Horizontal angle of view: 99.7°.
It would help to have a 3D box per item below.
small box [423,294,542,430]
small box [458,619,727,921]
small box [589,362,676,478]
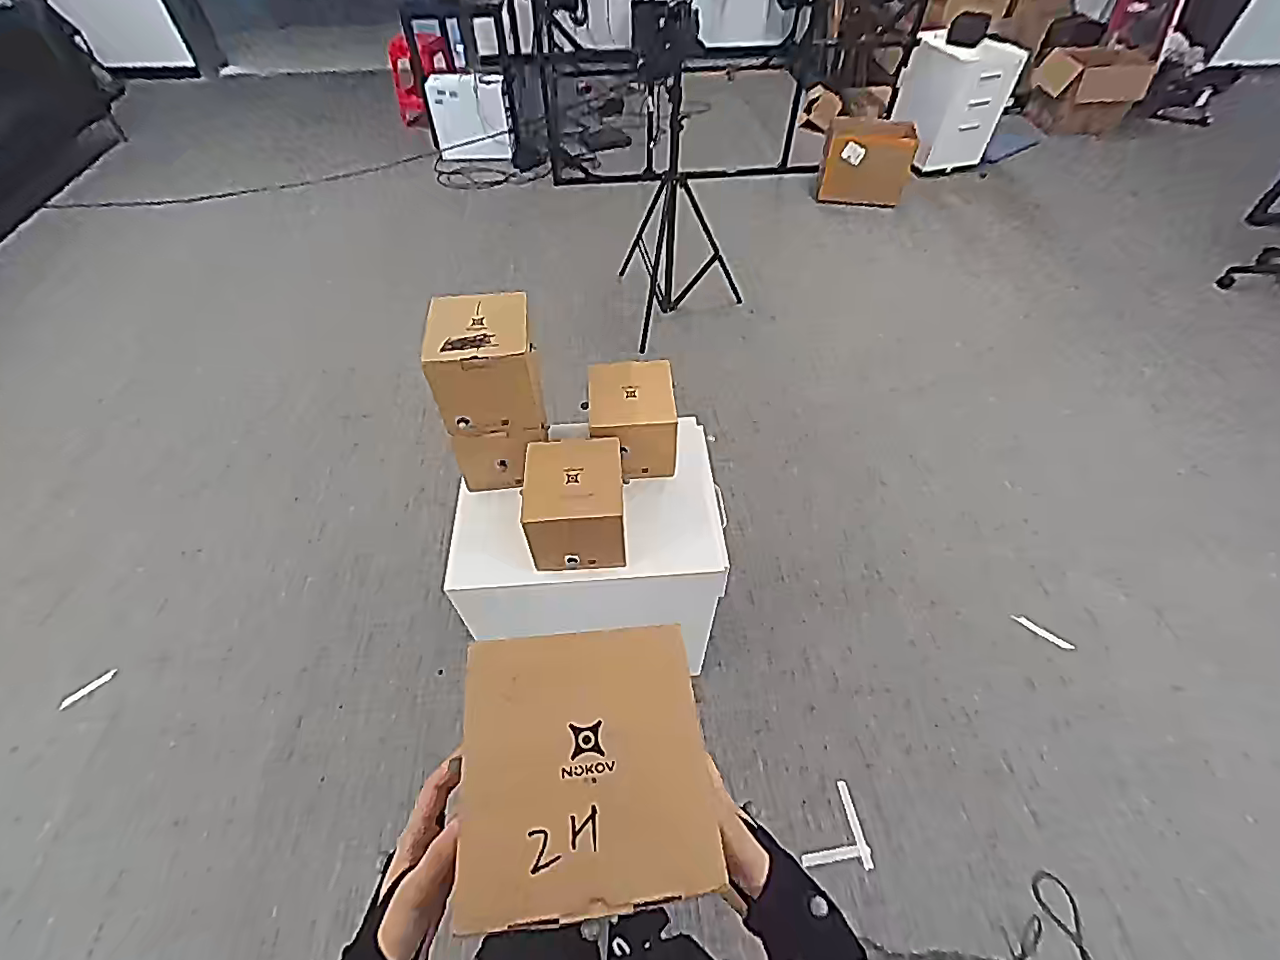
[{"bbox_3d":[-0.268,-0.203,0.962,0.168,0.176,0.179,-6,52,-5],"label":"small box"},{"bbox_3d":[-0.044,0.233,0.437,0.168,0.176,0.179,-4,53,-9],"label":"small box"},{"bbox_3d":[-0.015,-0.116,1.104,0.168,0.176,0.179,-4,52,-2],"label":"small box"}]
